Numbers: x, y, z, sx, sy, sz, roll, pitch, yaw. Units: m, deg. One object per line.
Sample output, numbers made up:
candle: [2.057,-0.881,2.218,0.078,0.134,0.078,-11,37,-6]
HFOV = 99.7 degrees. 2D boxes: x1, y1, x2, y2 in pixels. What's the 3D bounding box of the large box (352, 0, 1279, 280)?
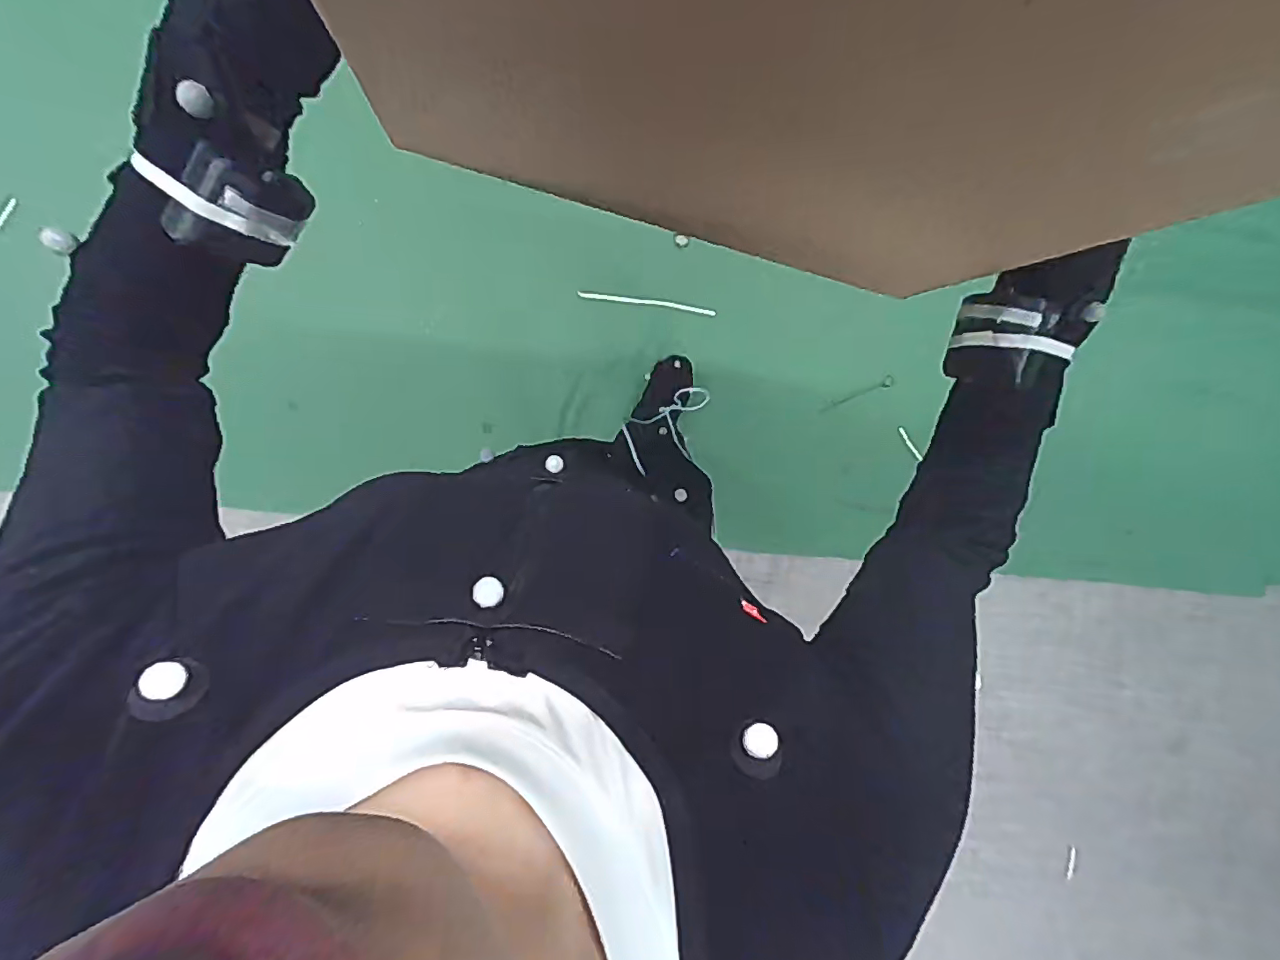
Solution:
large box: [0.092,-0.323,0.246,0.408,0.320,0.320,11,97,-14]
